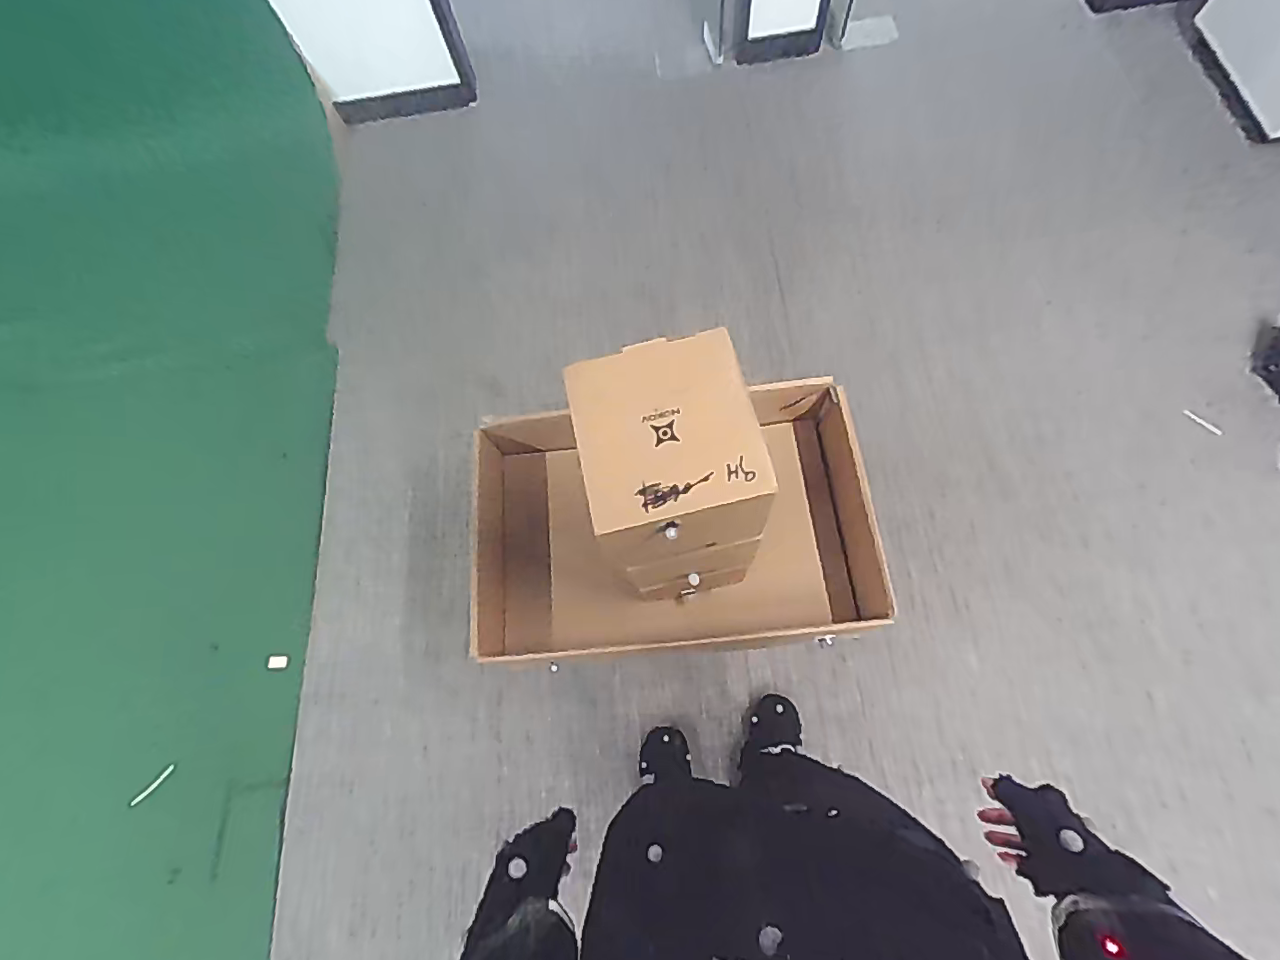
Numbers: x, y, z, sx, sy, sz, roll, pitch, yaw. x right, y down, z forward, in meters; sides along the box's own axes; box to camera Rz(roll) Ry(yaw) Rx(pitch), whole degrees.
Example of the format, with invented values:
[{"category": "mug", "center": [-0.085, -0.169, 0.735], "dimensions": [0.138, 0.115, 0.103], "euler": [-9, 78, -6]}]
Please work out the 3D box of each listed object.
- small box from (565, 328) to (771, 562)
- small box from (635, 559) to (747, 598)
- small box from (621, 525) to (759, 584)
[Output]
[{"category": "small box", "center": [0.029, -0.027, 0.578], "dimensions": [0.168, 0.176, 0.179], "euler": [-14, 69, 3]}, {"category": "small box", "center": [0.067, 0.084, 0.884], "dimensions": [0.168, 0.176, 0.179], "euler": [-13, 71, 2]}, {"category": "small box", "center": [0.052, 0.029, 0.730], "dimensions": [0.168, 0.176, 0.179], "euler": [-14, 70, 3]}]
